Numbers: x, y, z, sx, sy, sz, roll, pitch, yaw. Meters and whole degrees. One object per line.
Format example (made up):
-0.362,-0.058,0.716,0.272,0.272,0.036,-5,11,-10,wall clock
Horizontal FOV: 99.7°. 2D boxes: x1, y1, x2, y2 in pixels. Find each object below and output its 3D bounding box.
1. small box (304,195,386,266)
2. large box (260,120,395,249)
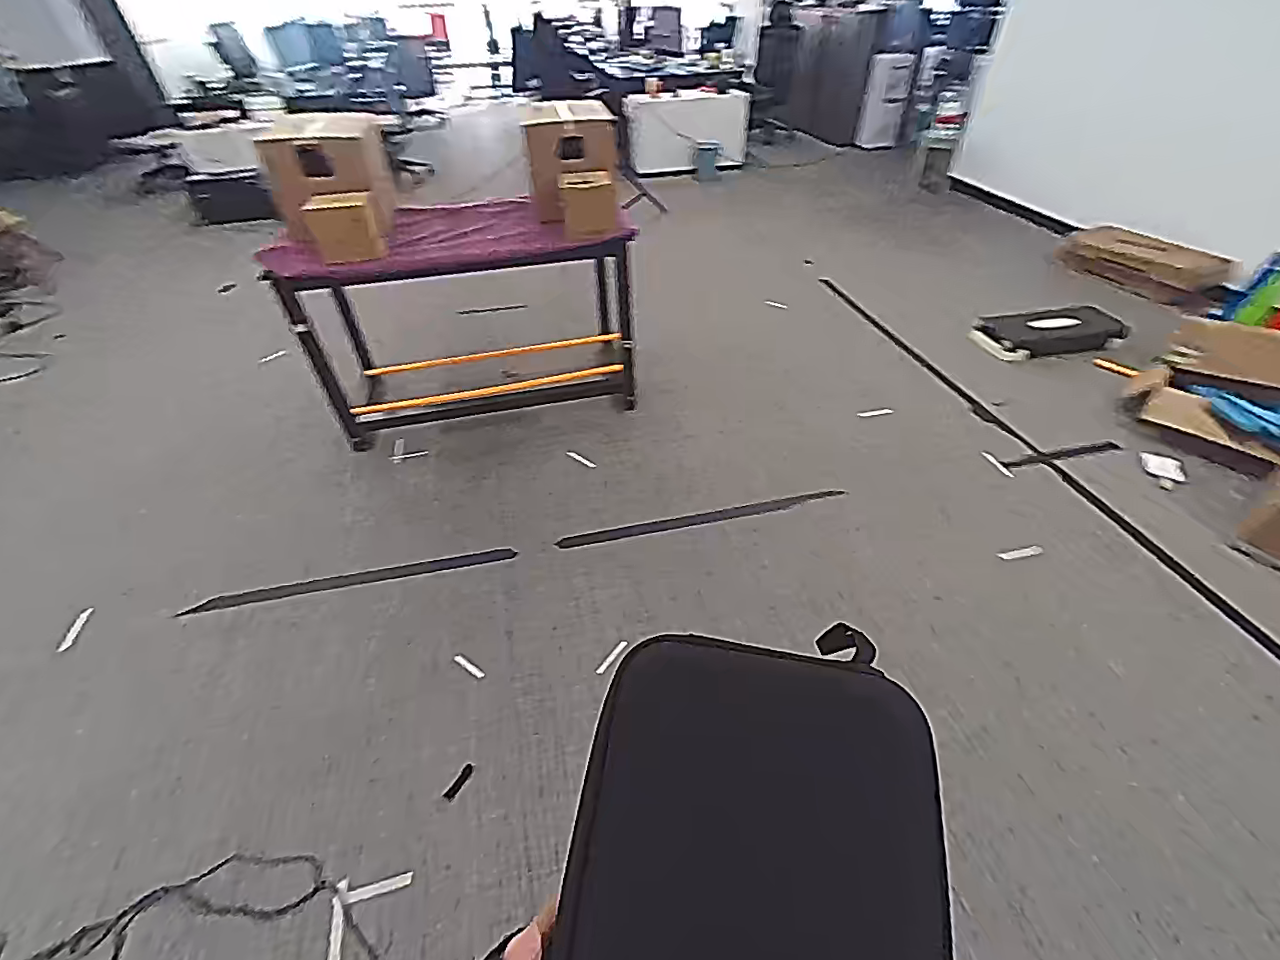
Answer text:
-0.955,-0.812,1.764,0.179,0.176,0.168,-11,42,-11,small box
-1.093,-1.074,1.948,0.320,0.320,0.408,-10,45,-10,large box
